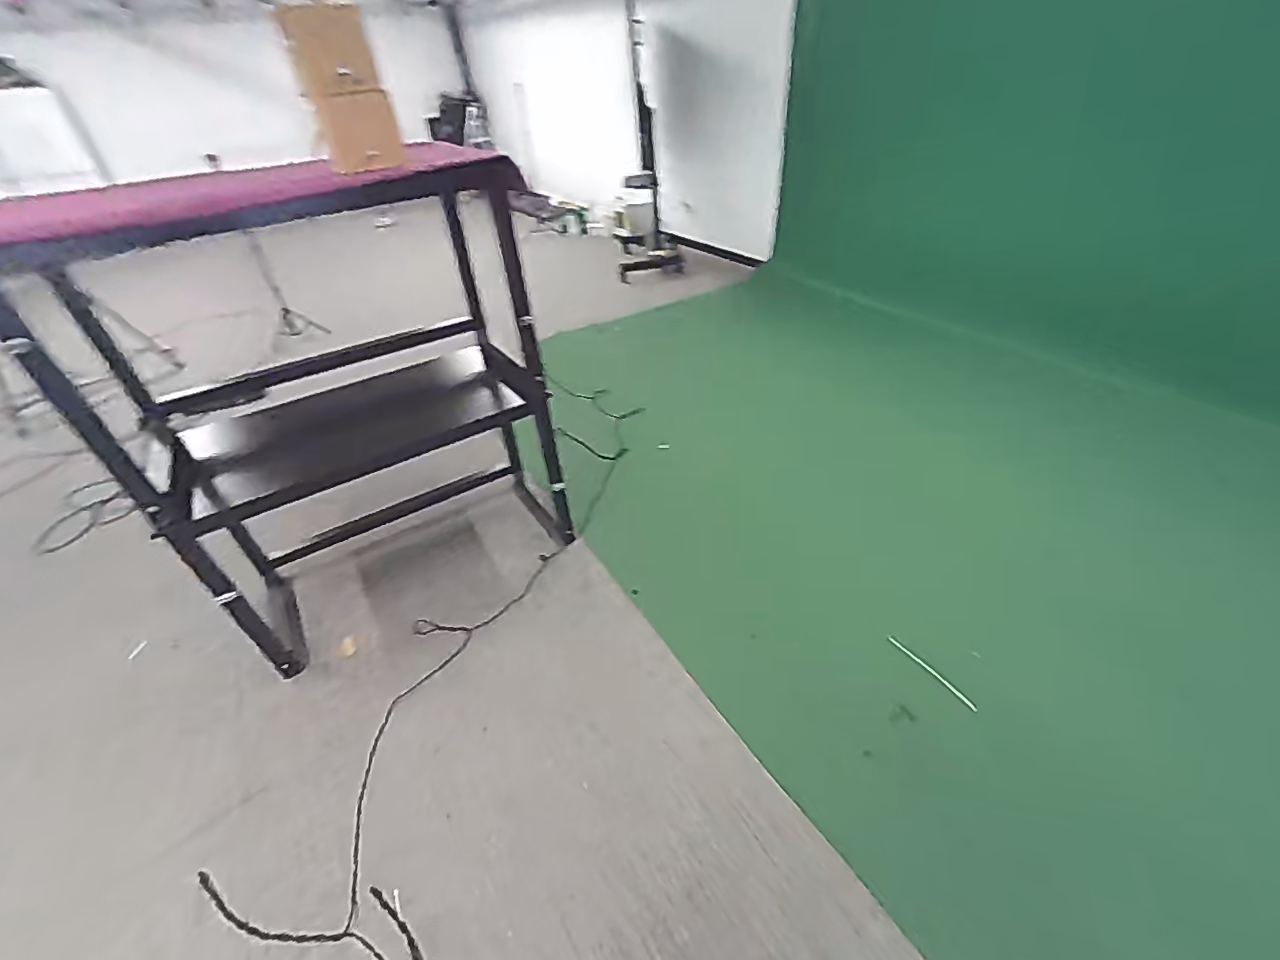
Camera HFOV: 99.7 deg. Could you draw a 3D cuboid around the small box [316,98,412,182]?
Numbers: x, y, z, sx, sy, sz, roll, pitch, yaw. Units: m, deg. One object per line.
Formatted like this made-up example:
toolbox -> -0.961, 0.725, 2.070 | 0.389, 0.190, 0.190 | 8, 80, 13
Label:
small box -> -0.725, -0.903, 1.434 | 0.179, 0.176, 0.168 | -25, 40, -24
